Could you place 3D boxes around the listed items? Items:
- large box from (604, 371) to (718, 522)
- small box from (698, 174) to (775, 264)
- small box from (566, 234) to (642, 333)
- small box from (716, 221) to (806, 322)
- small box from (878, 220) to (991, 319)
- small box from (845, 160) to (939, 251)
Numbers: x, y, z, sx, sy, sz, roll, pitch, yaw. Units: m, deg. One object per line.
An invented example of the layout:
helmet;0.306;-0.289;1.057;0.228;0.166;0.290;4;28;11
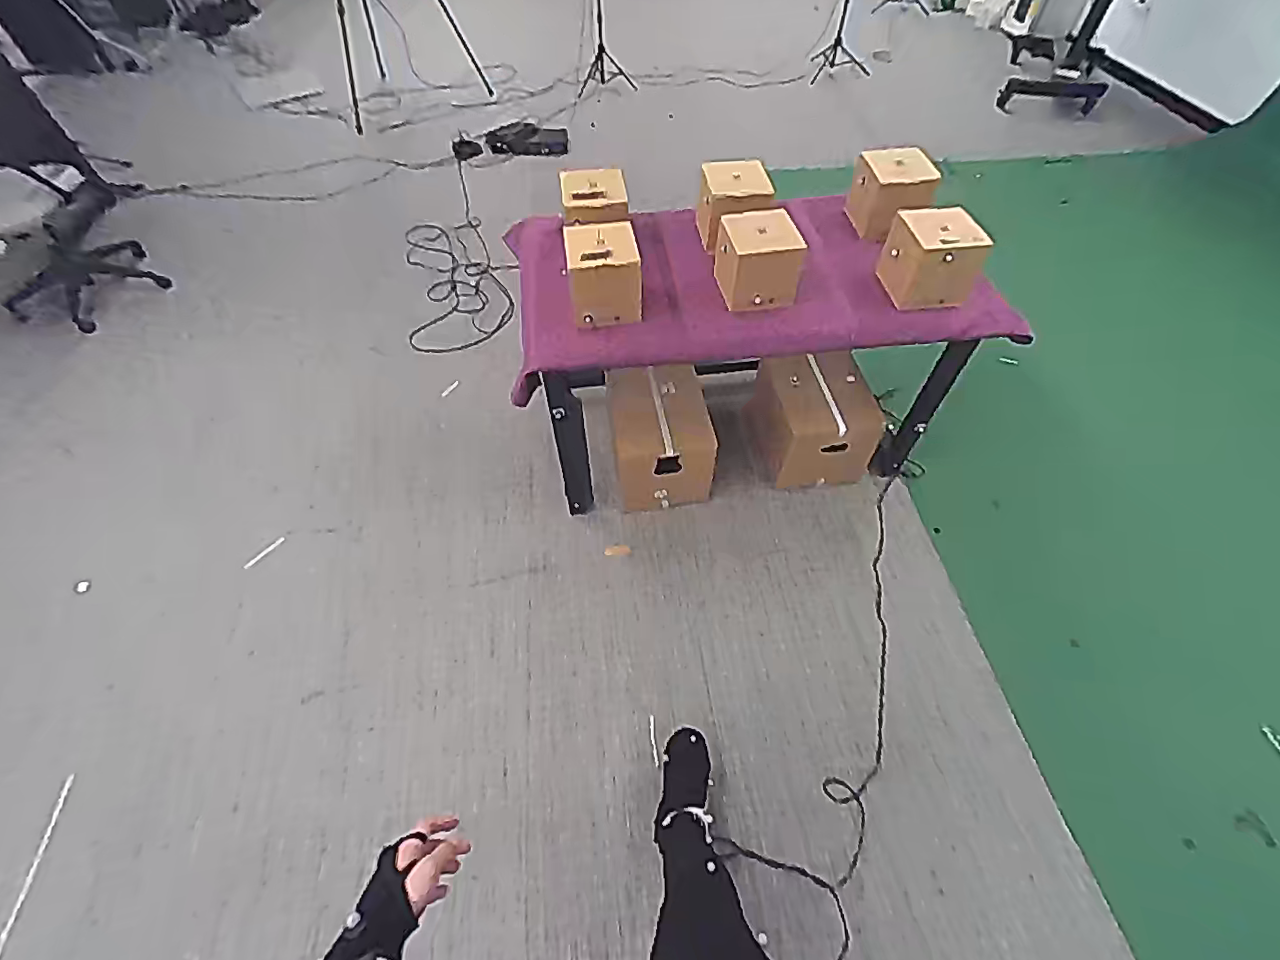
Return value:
large box;0.063;-0.117;1.883;0.320;0.320;0.408;-7;53;-5
small box;0.260;-0.728;1.512;0.168;0.176;0.179;-5;55;-4
small box;-0.086;-0.475;1.326;0.168;0.176;0.179;-7;52;-5
small box;0.294;-0.521;1.357;0.168;0.176;0.179;-8;53;-4
small box;0.720;-0.525;1.350;0.168;0.176;0.179;-5;51;-1
small box;0.705;-0.778;1.537;0.168;0.176;0.179;-6;55;-1
